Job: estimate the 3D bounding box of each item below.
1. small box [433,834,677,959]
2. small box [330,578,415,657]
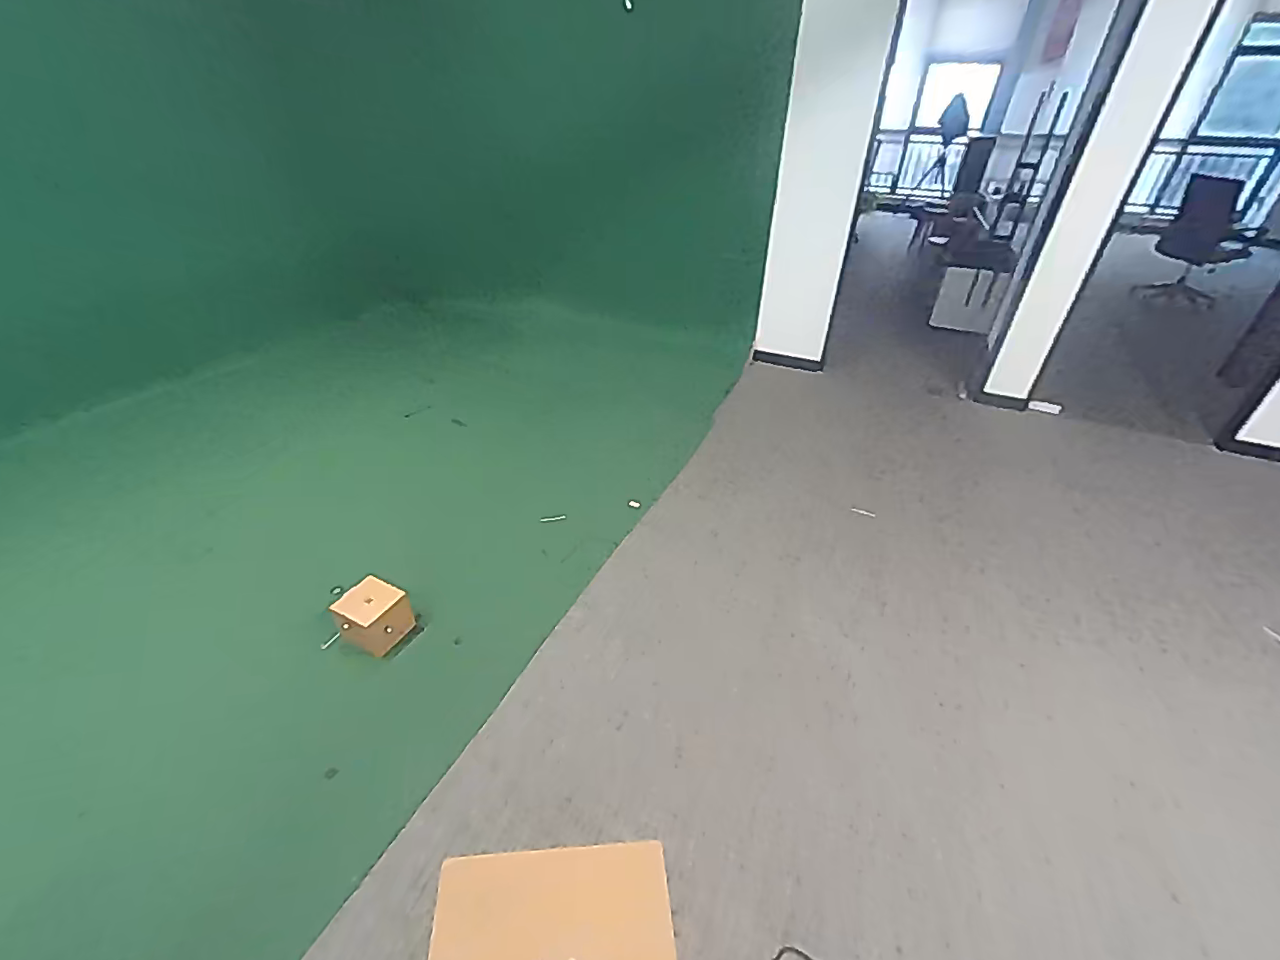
[{"bbox_3d":[-0.064,0.395,0.396,0.168,0.176,0.179,1,38,-10],"label":"small box"},{"bbox_3d":[-0.896,0.469,1.828,0.179,0.176,0.168,17,39,22],"label":"small box"}]
